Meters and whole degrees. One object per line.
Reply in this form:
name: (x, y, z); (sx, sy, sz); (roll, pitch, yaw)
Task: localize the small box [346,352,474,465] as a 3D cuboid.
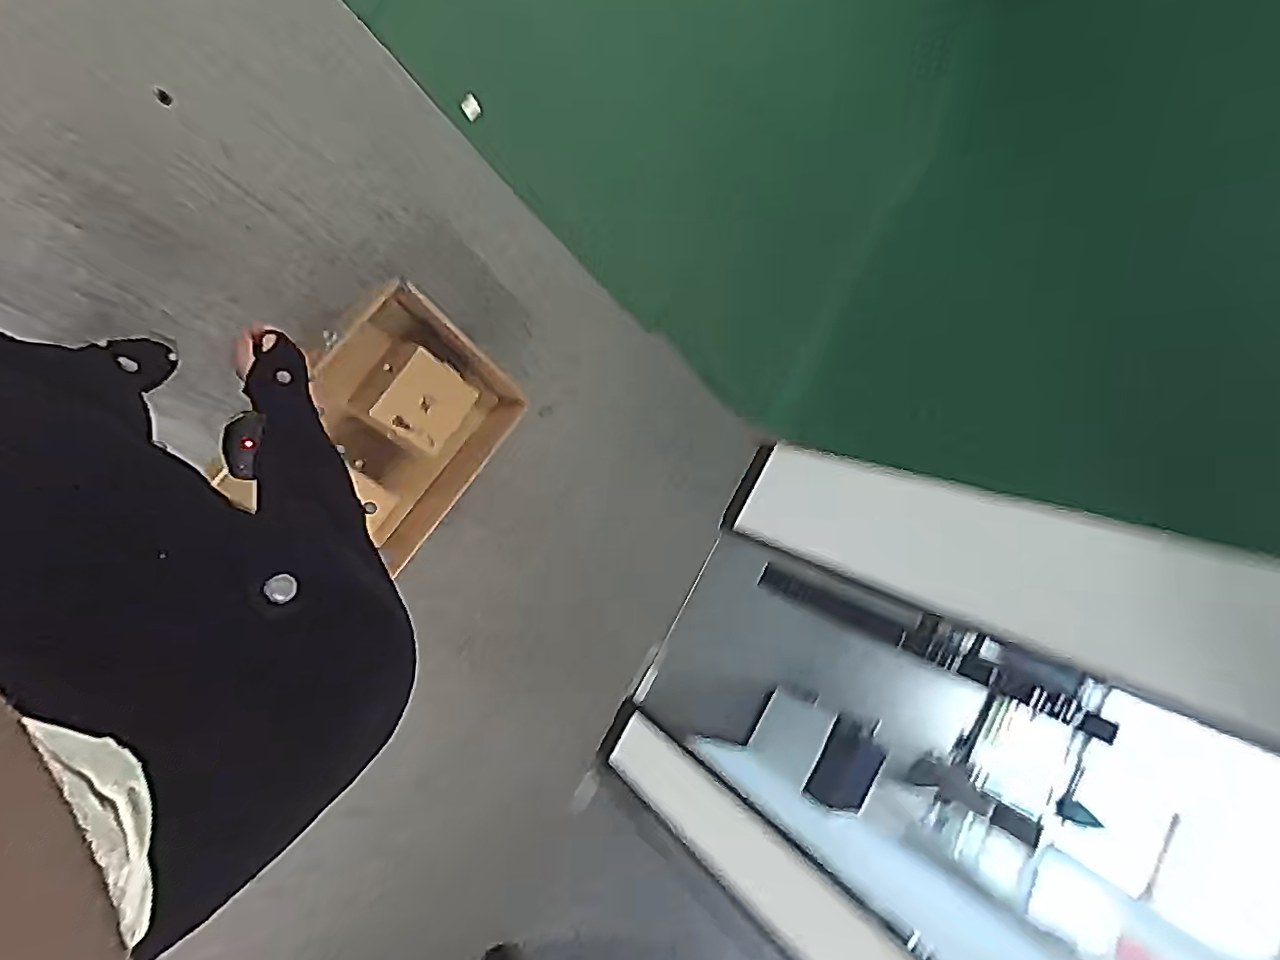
small box: (-0.508, -0.162, 1.183); (0.168, 0.176, 0.179); (43, 74, -42)
